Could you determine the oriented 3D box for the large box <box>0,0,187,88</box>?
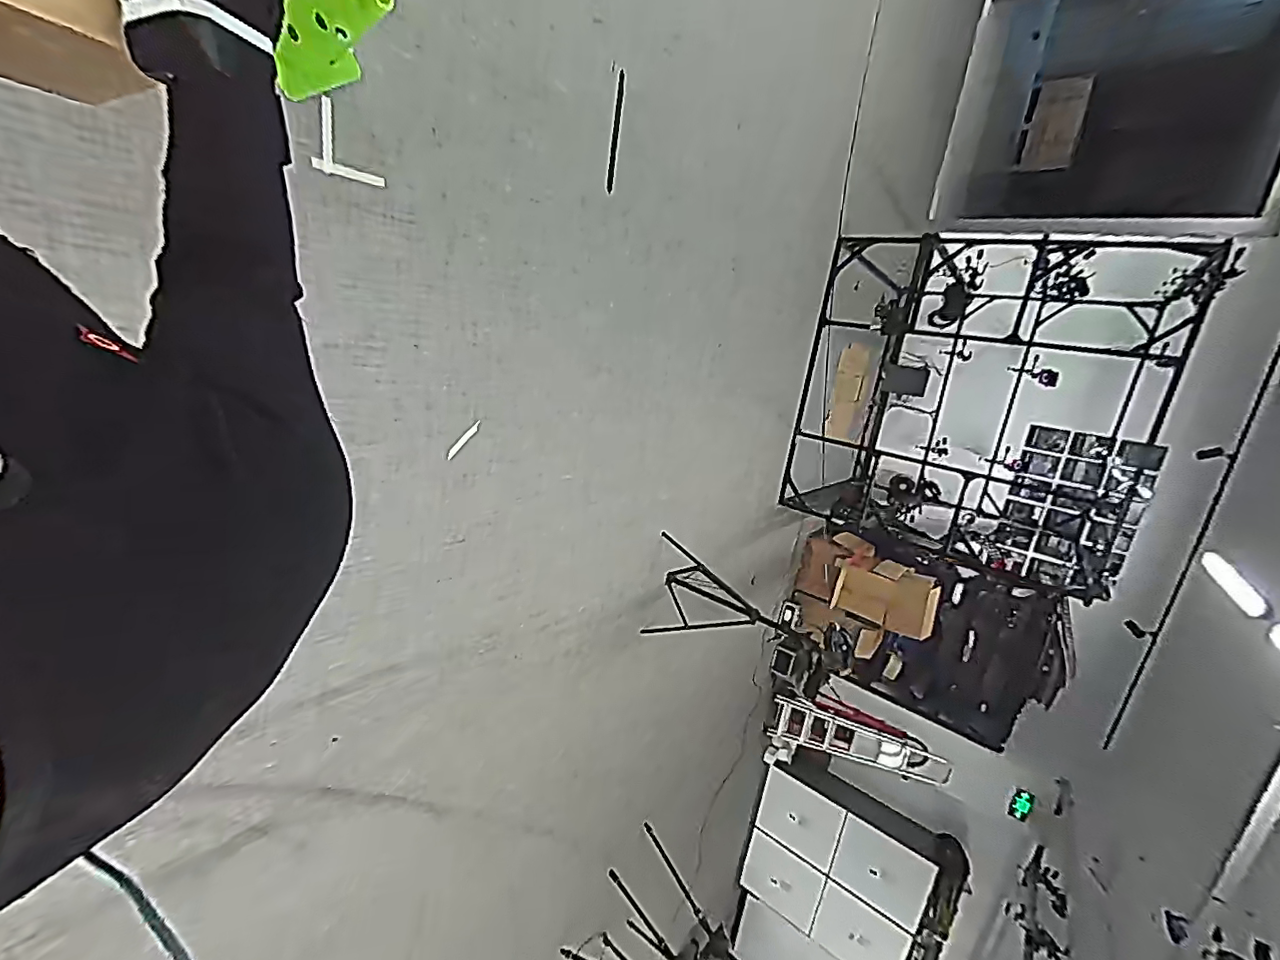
[{"bbox_3d":[-0.535,-0.470,0.270,0.408,0.320,0.320,-10,117,-53],"label":"large box"}]

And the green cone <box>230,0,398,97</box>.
[{"bbox_3d":[-0.602,-0.920,1.073,0.202,0.368,0.200,-51,142,-30],"label":"green cone"}]
